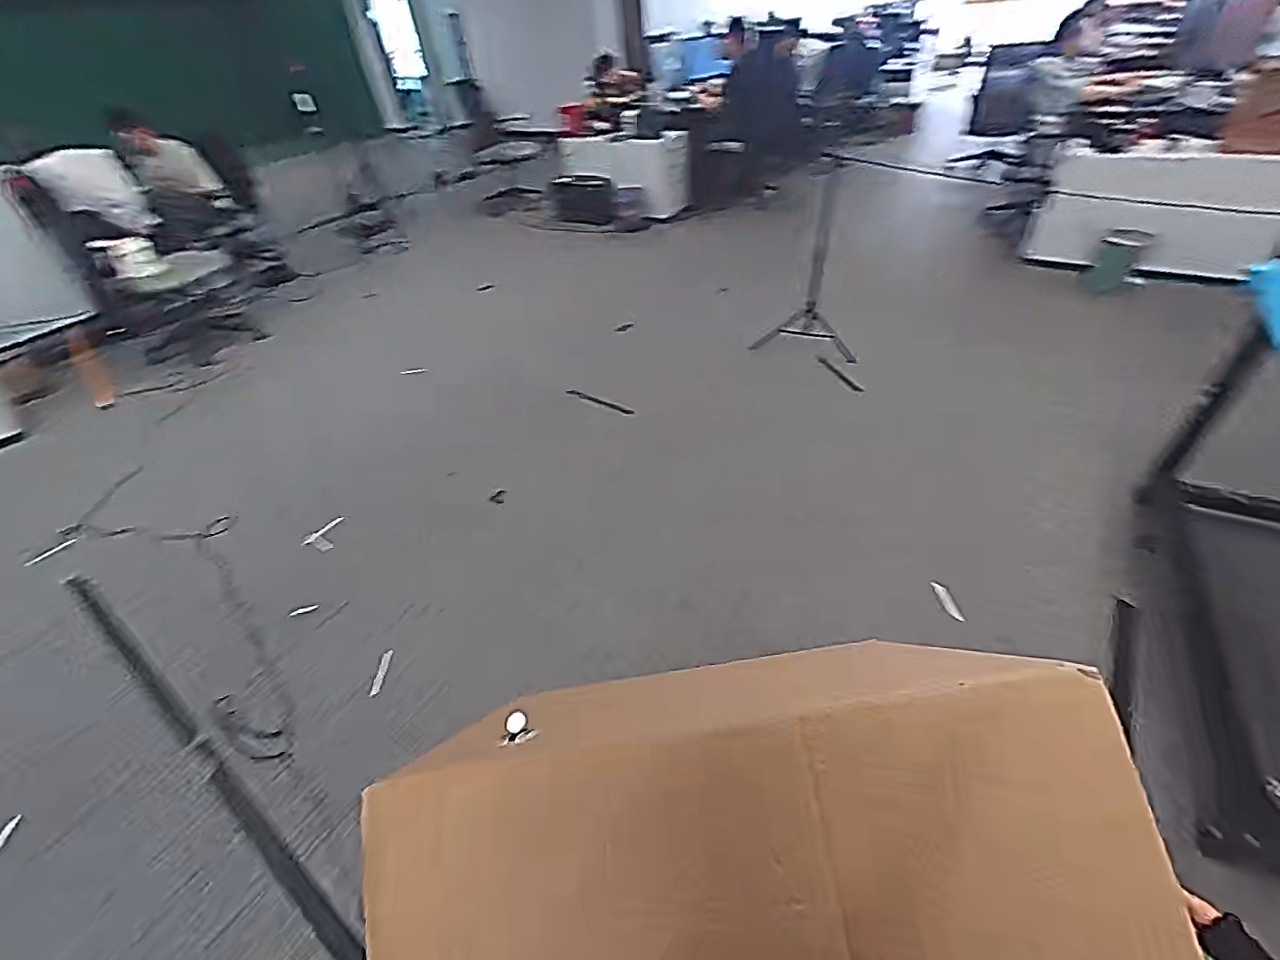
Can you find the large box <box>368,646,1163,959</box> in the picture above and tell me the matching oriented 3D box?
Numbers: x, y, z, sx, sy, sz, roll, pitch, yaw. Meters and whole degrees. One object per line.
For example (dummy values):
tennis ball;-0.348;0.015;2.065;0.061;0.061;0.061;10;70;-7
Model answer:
large box;0.074;0.327;0.411;0.408;0.320;0.320;-11;77;-1
